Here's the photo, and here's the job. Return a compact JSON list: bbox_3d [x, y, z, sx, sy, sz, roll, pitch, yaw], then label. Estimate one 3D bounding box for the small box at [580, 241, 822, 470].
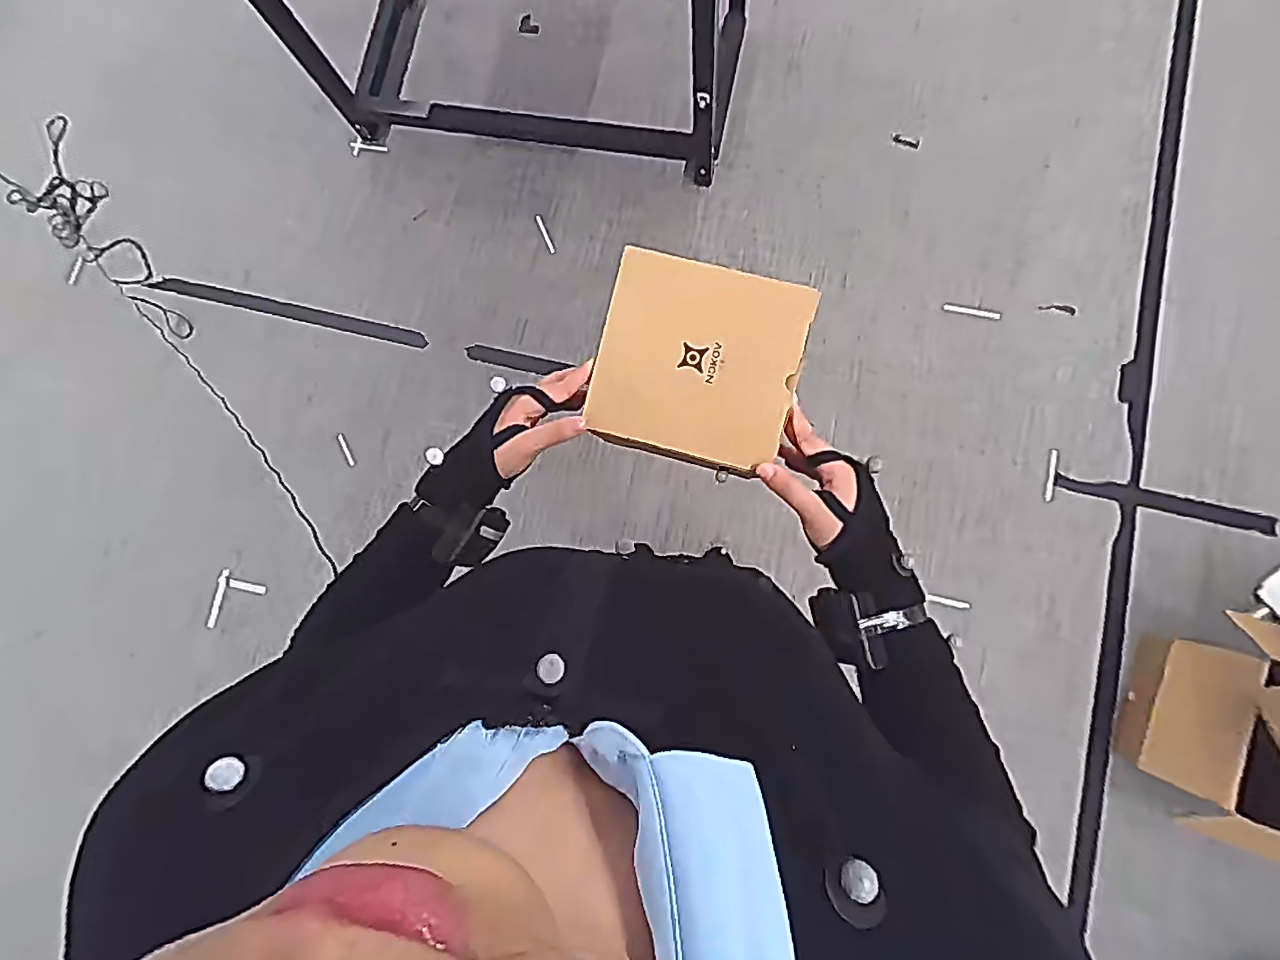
[{"bbox_3d":[0.056,-0.107,0.542,0.179,0.176,0.168,15,90,4],"label":"small box"}]
